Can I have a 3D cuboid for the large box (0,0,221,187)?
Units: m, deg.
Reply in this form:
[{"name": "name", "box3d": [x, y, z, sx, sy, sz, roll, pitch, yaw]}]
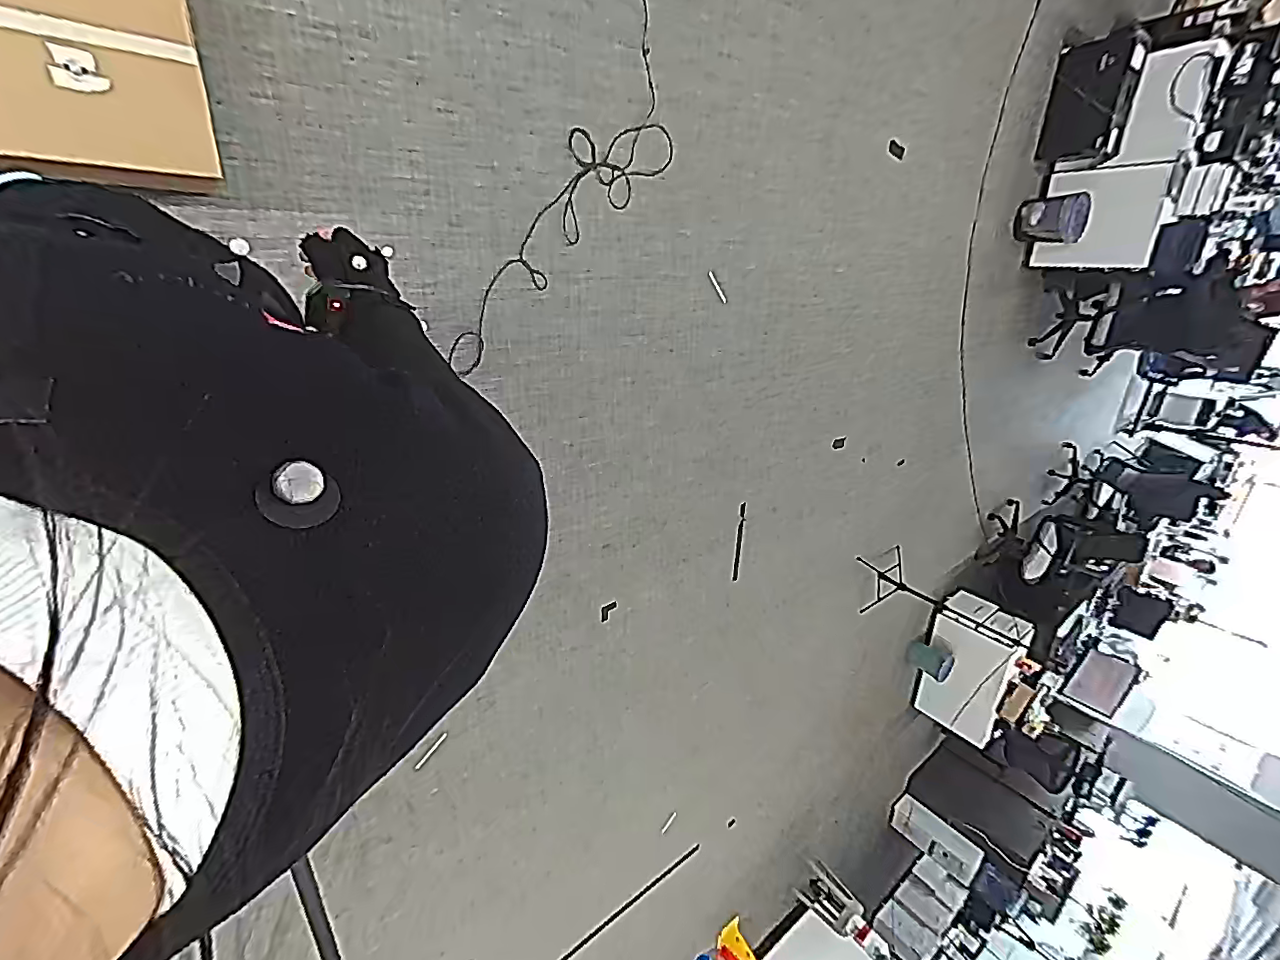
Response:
[{"name": "large box", "box3d": [-0.897, -0.629, 0.781, 0.408, 0.320, 0.320, -14, 117, -36]}]
